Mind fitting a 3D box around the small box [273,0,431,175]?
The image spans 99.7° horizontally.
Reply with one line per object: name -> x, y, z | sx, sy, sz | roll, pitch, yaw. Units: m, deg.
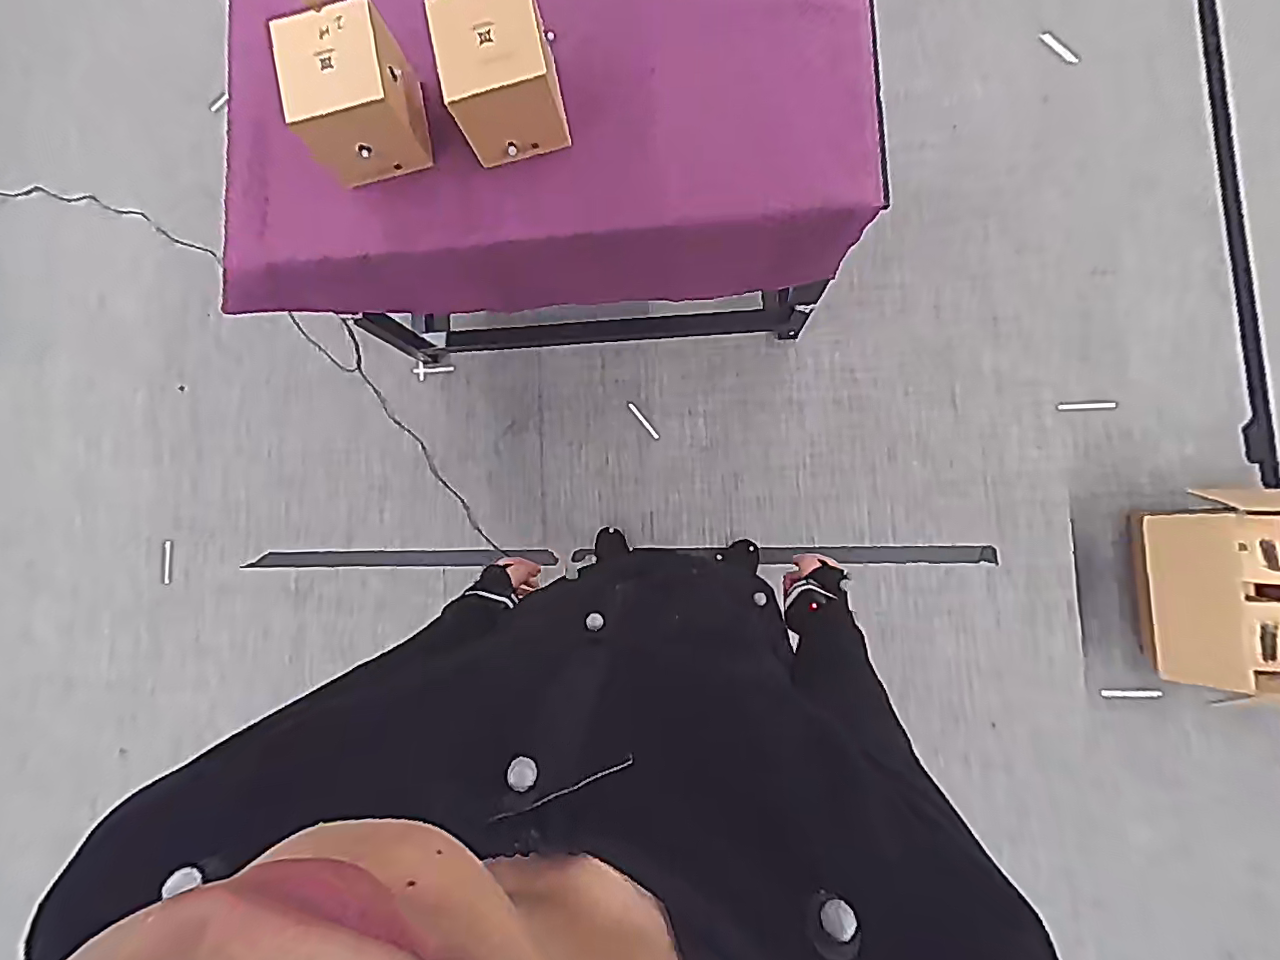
small box -> -0.476, -0.650, 0.918 | 0.168, 0.176, 0.179 | -11, 85, 4

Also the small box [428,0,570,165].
small box -> -0.225, -0.671, 0.897 | 0.168, 0.176, 0.179 | -12, 85, 5
